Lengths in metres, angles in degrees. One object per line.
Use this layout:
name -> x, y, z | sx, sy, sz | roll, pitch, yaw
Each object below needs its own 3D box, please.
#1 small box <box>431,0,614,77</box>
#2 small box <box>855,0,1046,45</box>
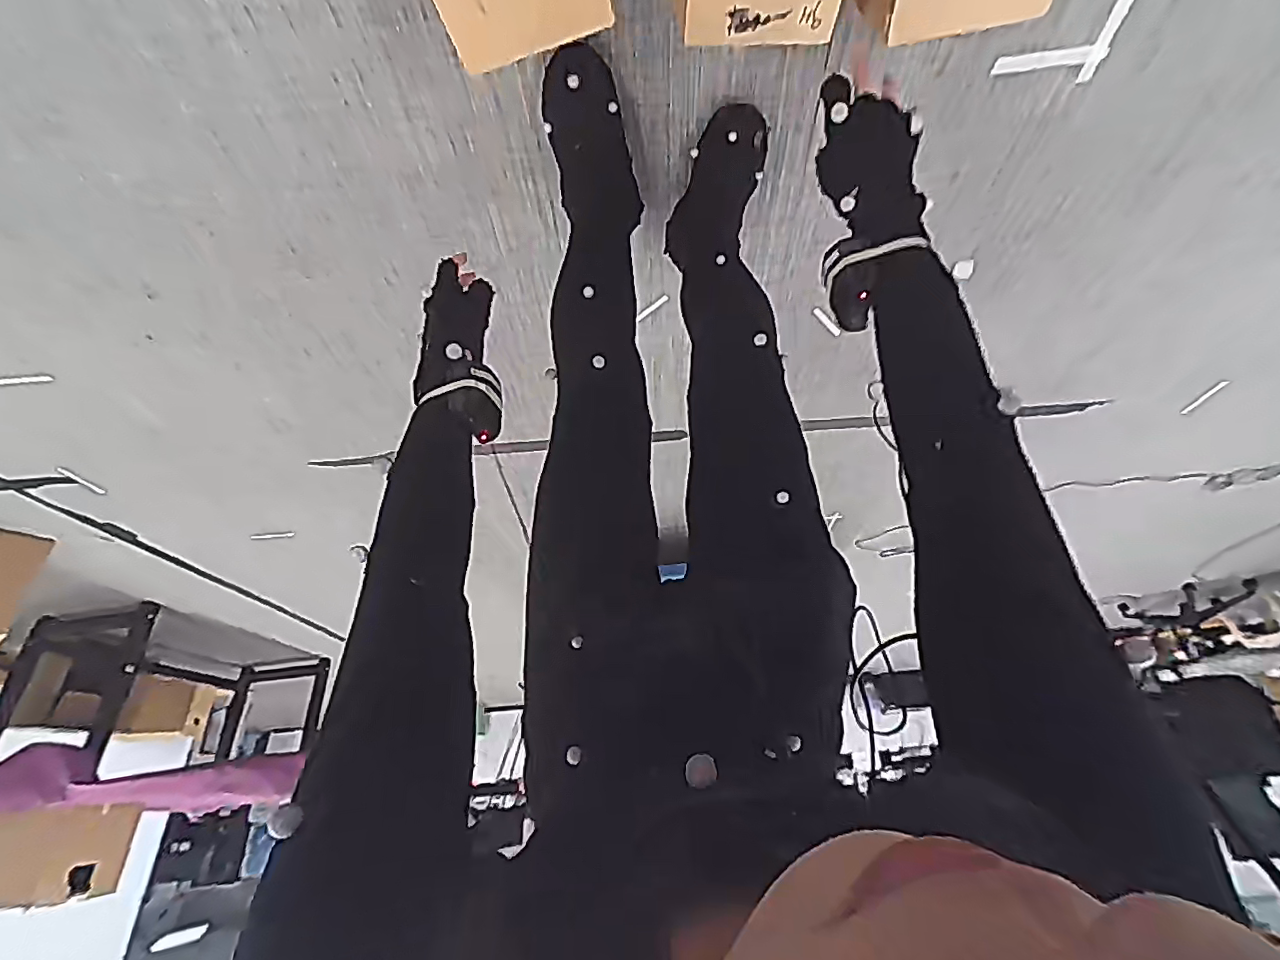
small box -> -0.135, -0.574, 0.563 | 0.179, 0.176, 0.168 | -10, 148, 12
small box -> 0.336, -0.605, 0.571 | 0.179, 0.176, 0.168 | -8, 149, 4
